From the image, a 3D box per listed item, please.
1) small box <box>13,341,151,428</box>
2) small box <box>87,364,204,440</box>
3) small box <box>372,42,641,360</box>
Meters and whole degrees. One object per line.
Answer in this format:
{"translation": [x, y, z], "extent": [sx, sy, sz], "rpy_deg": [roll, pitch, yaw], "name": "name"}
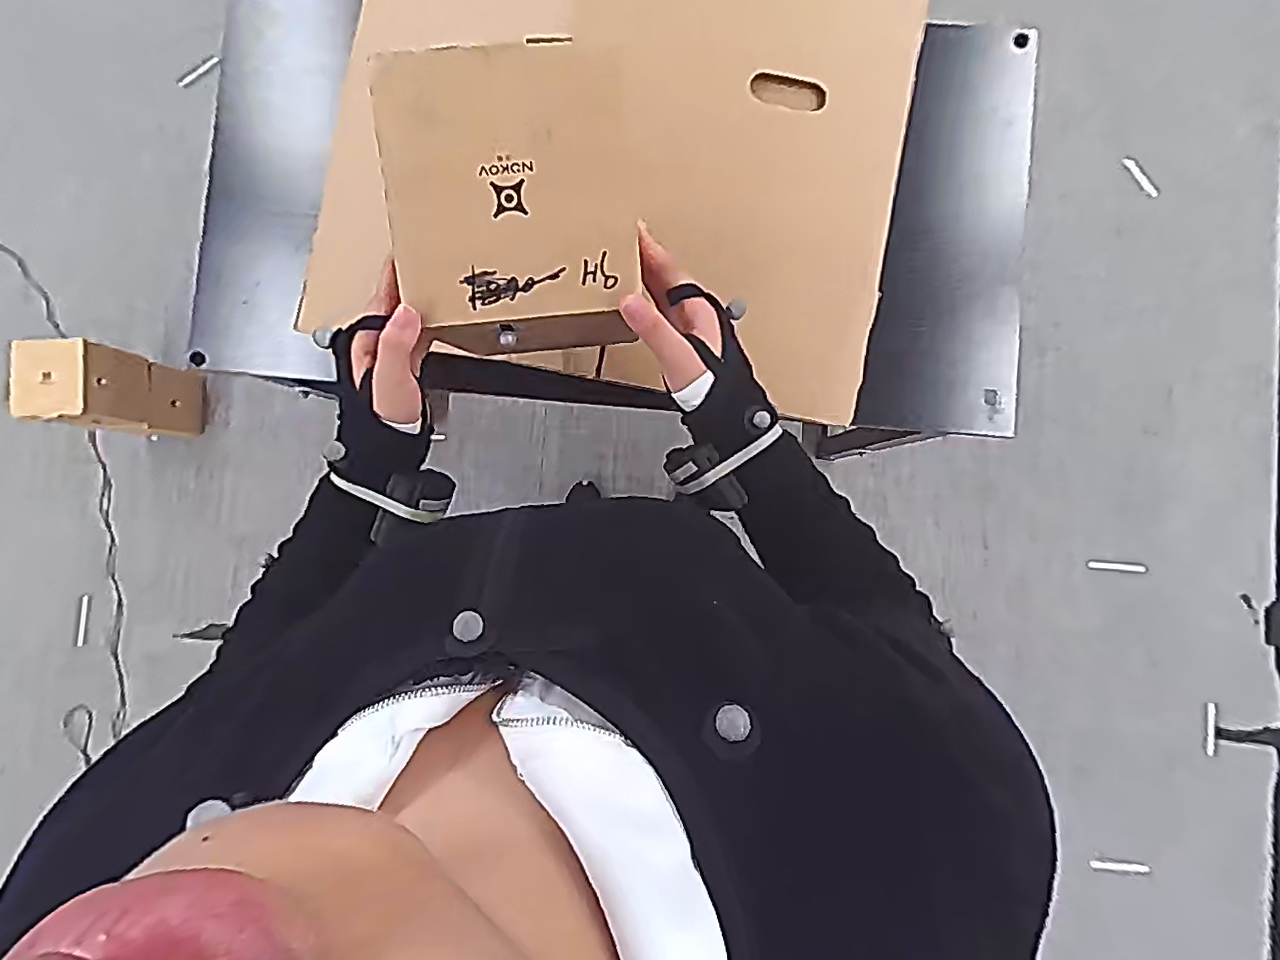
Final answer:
{"translation": [-1.327, -0.221, 1.297], "extent": [0.168, 0.176, 0.179], "rpy_deg": [-2, 86, 0], "name": "small box"}
{"translation": [-1.323, -0.207, 1.459], "extent": [0.168, 0.176, 0.179], "rpy_deg": [1, 88, 1], "name": "small box"}
{"translation": [-0.090, -0.203, 0.441], "extent": [0.168, 0.176, 0.179], "rpy_deg": [-6, 95, 0], "name": "small box"}
